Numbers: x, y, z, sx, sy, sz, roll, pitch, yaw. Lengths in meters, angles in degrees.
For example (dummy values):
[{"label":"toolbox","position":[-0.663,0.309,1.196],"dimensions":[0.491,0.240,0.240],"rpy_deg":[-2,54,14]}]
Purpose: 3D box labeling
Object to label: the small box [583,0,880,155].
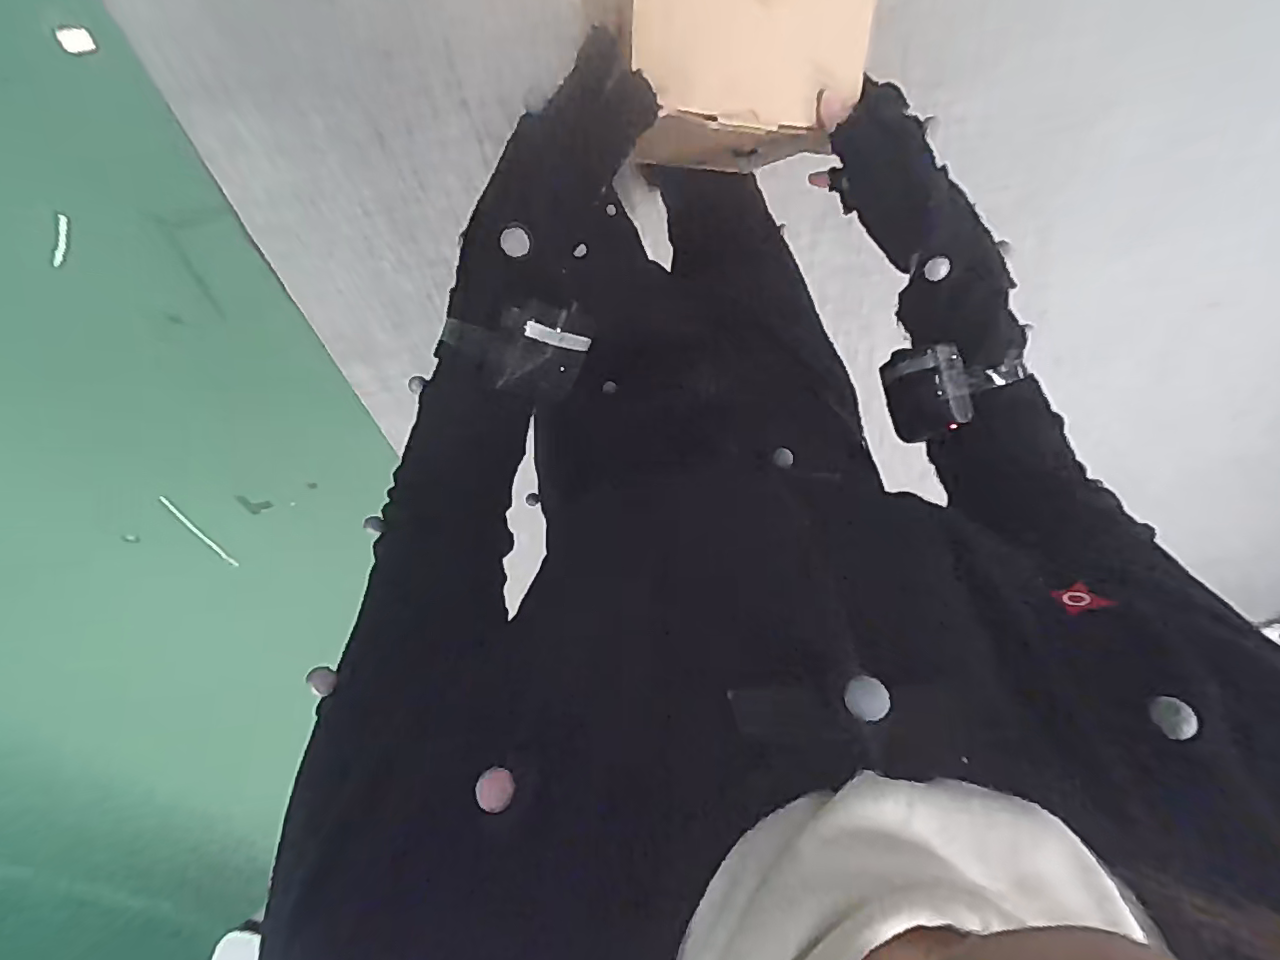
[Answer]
[{"label":"small box","position":[0.054,-0.346,0.392],"dimensions":[0.168,0.176,0.179],"rpy_deg":[-8,114,-14]}]
